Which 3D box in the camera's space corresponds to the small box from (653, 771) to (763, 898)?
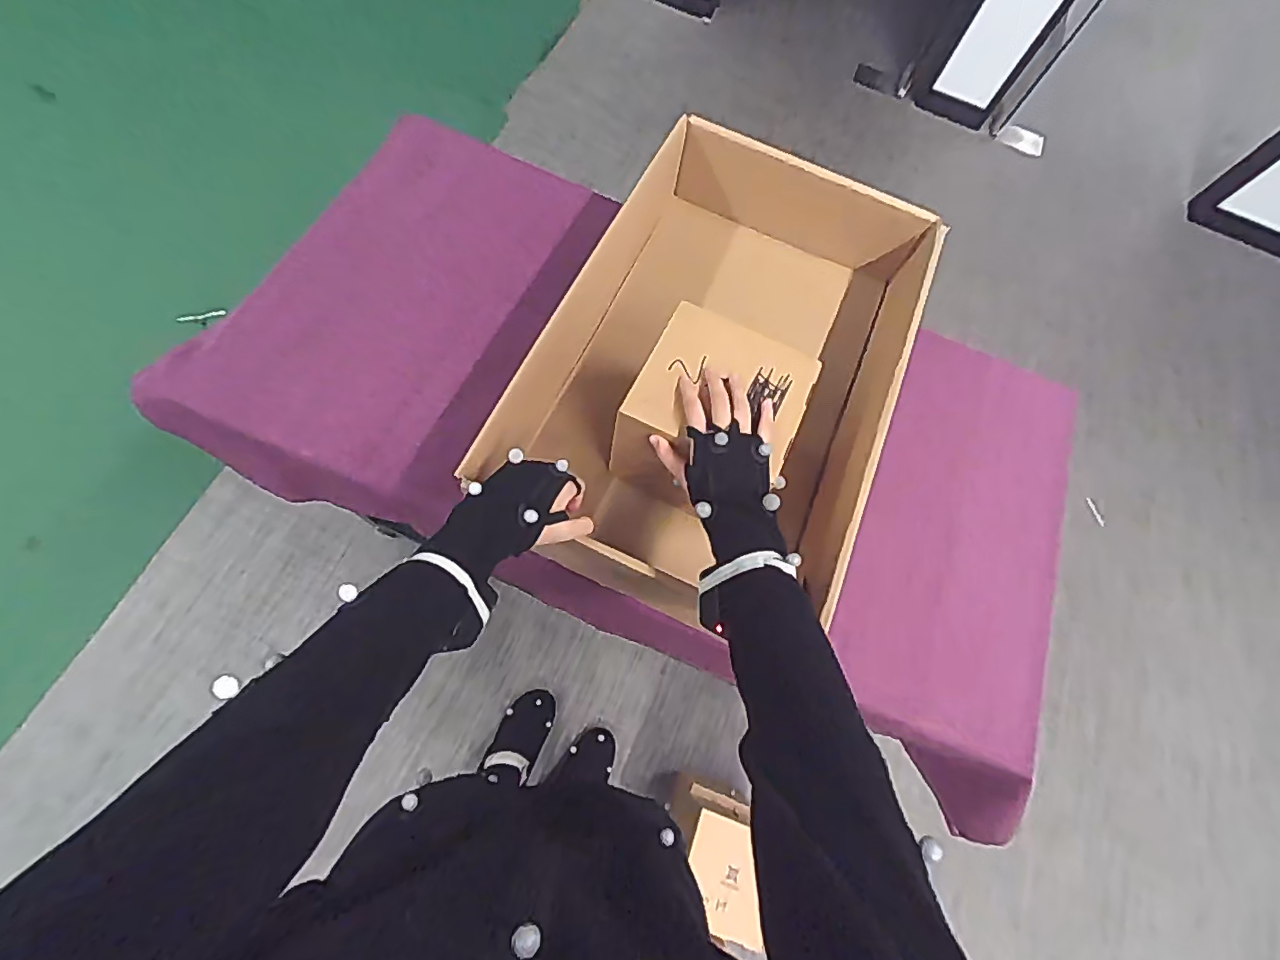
[{"bbox_3d":[0.143,0.764,1.187,0.179,0.176,0.168,23,69,3],"label":"small box"}]
